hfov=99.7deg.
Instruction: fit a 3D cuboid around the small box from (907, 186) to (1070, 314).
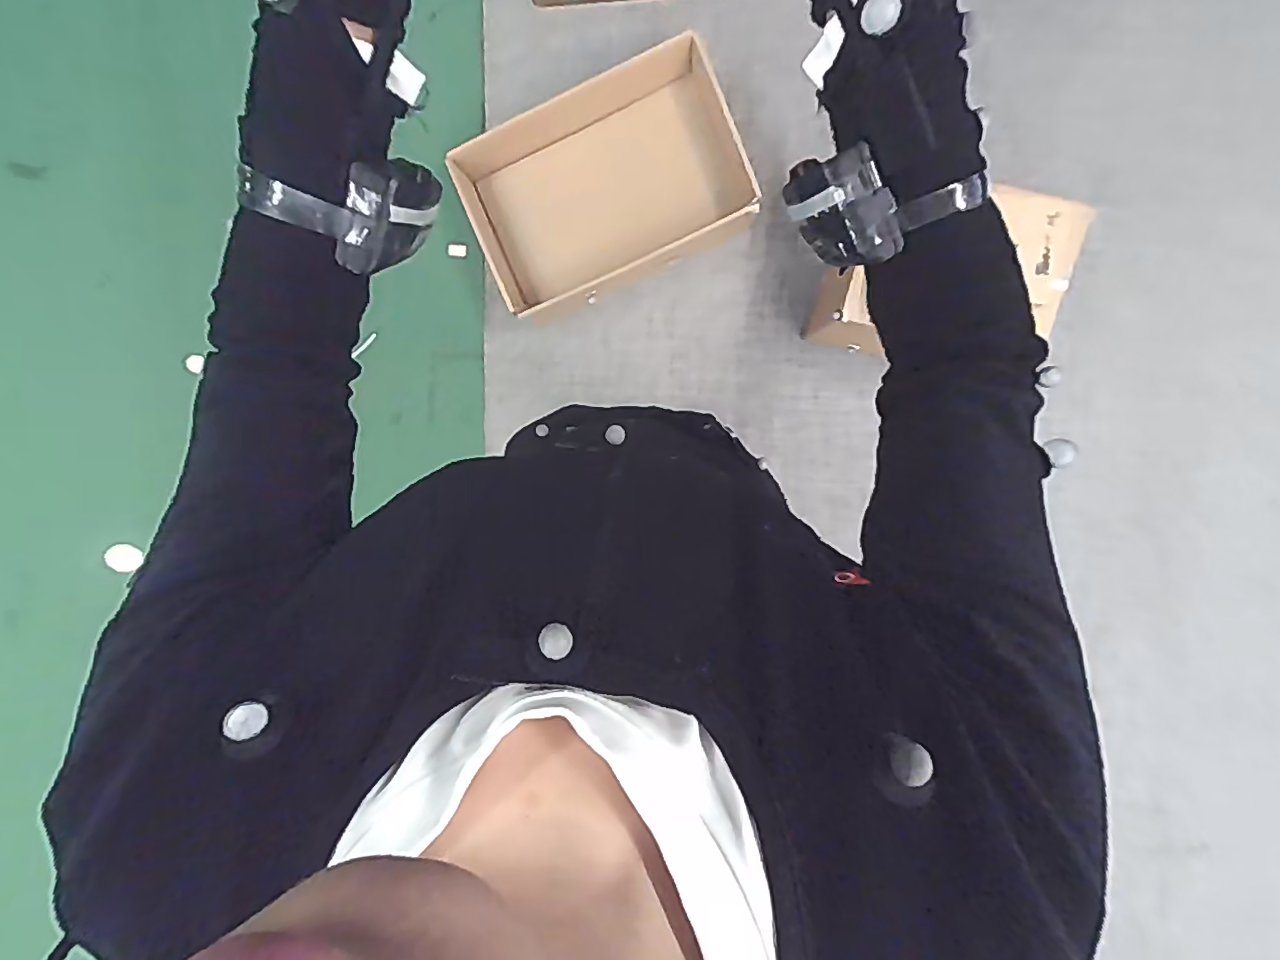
[{"bbox_3d":[0.608,-0.402,0.971,0.179,0.176,0.168,8,98,4],"label":"small box"}]
